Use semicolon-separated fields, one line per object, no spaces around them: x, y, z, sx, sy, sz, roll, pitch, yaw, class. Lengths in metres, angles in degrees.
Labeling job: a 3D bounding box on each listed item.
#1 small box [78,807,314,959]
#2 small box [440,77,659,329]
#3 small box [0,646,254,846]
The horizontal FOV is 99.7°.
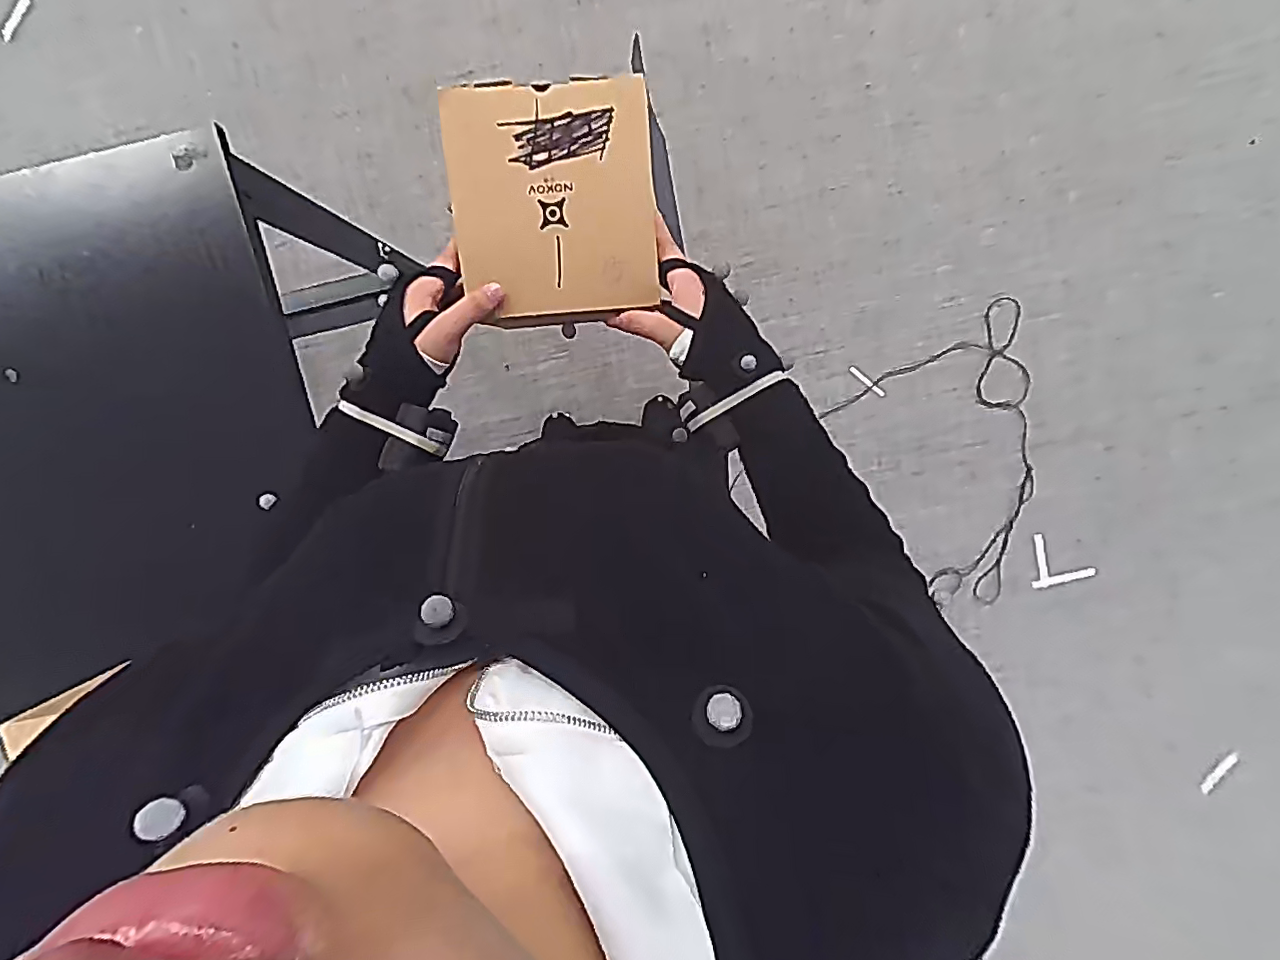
-0.605;0.596;0.763;0.168;0.176;0.179;-13;97;2;small box
-0.075;-0.243;0.516;0.168;0.176;0.179;-5;104;-2;small box
-0.667;0.343;0.730;0.179;0.176;0.168;-12;97;3;small box
